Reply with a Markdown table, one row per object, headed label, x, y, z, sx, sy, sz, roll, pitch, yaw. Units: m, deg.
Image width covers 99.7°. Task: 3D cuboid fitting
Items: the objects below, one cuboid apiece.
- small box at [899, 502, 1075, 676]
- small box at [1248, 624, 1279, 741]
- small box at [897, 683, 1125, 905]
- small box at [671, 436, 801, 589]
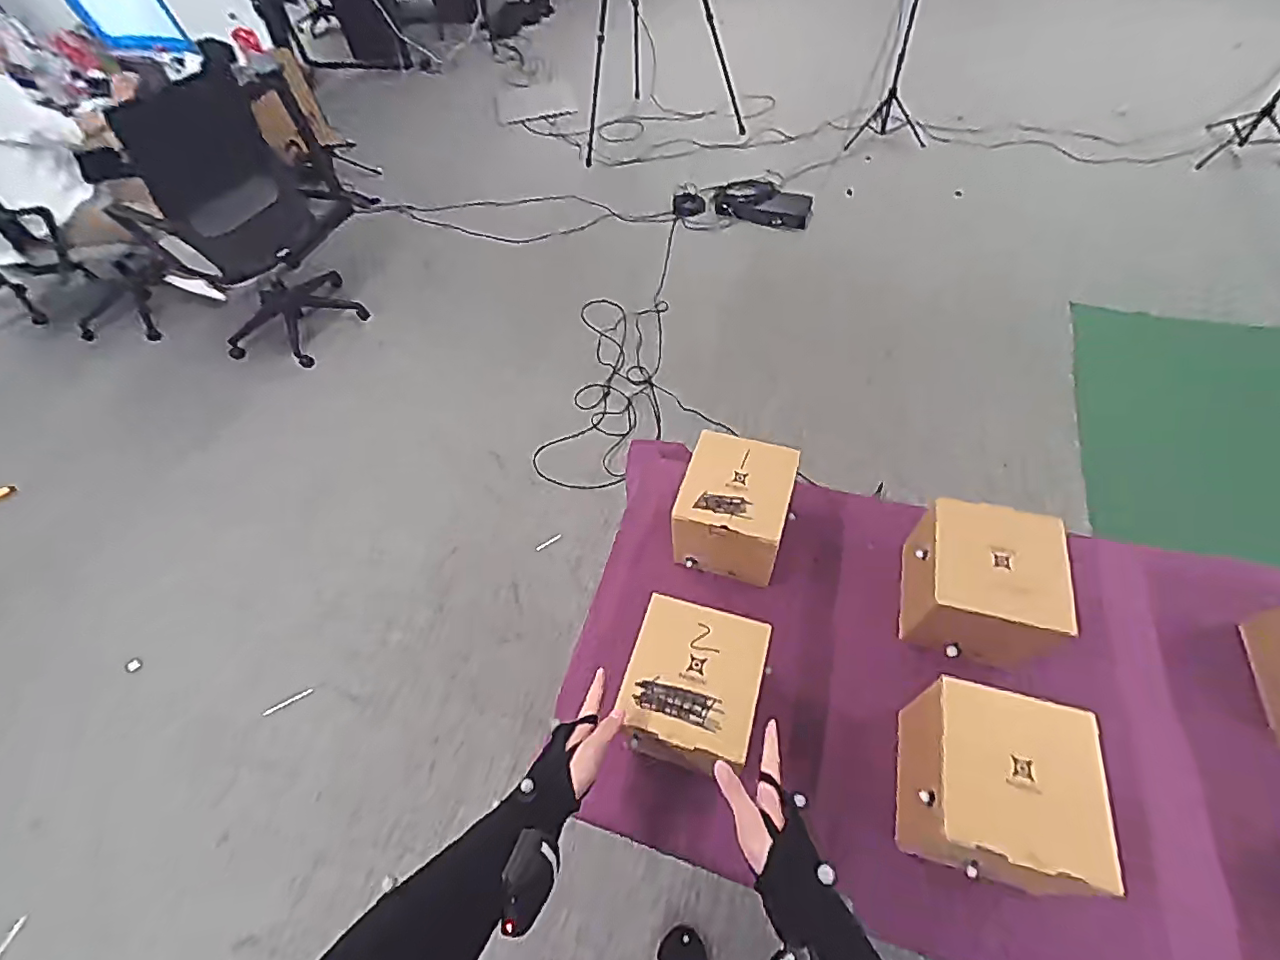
| label | x | y | z | sx | sy | sz | roll | pitch | yaw |
| --- | --- | --- | --- | --- | --- | --- | --- | --- | --- |
| small box | 0.496 | 0.163 | 0.799 | 0.168 | 0.176 | 0.179 | 12 | 57 | 15 |
| small box | 0.941 | 0.266 | 0.676 | 0.168 | 0.176 | 0.179 | 11 | 56 | 14 |
| small box | 0.423 | 0.375 | 0.652 | 0.168 | 0.176 | 0.179 | 12 | 56 | 13 |
| small box | 0.159 | 0.058 | 0.903 | 0.168 | 0.176 | 0.179 | 14 | 58 | 15 |
